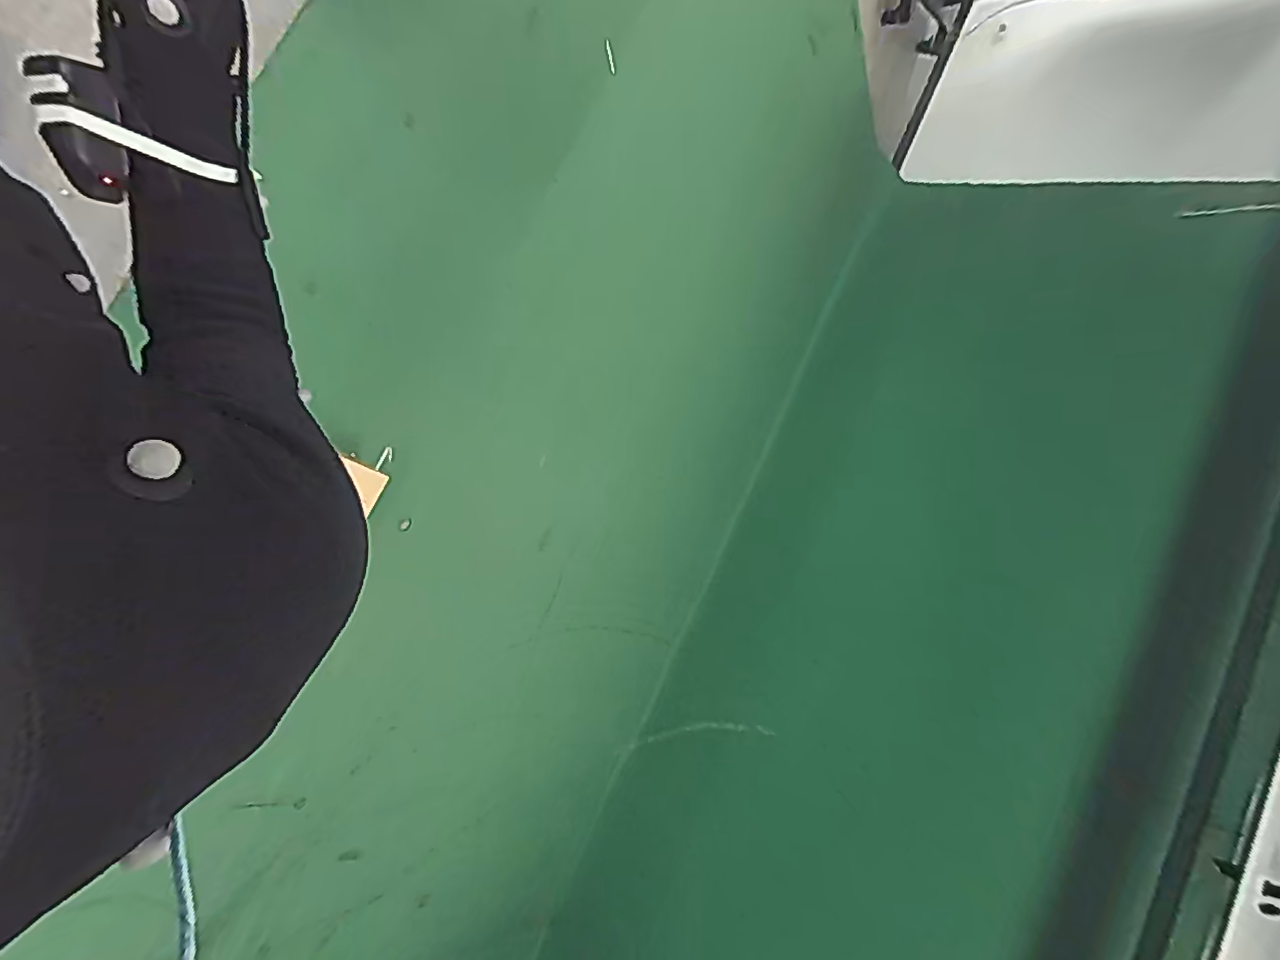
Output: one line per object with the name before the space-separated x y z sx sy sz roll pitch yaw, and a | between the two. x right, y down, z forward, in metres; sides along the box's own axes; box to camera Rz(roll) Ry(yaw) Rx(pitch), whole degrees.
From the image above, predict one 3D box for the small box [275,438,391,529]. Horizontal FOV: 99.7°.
small box | -0.798 0.004 1.403 0.179 0.176 0.168 37 77 -55
